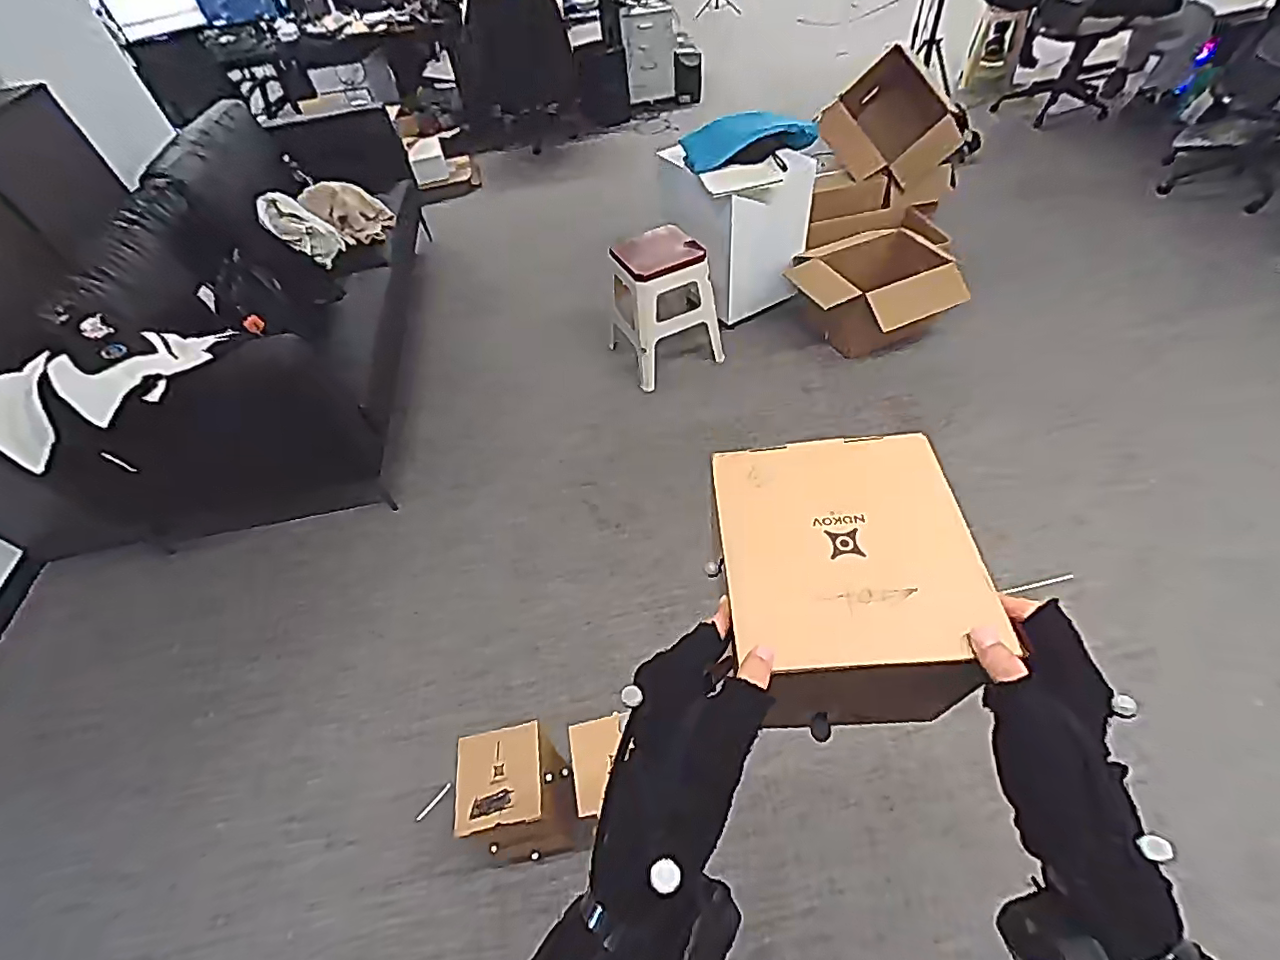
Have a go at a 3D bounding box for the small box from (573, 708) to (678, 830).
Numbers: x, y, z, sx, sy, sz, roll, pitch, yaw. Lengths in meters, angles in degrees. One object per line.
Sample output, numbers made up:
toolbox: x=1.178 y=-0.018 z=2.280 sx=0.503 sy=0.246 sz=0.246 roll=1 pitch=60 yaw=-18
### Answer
small box: x=-0.027 y=0.592 z=1.101 sx=0.179 sy=0.176 sz=0.168 roll=-13 pitch=50 yaw=-3

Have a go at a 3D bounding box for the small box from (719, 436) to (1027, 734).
small box: x=0.153 y=0.089 z=0.434 sx=0.168 sy=0.176 sz=0.179 roll=-6 pitch=54 yaw=5
